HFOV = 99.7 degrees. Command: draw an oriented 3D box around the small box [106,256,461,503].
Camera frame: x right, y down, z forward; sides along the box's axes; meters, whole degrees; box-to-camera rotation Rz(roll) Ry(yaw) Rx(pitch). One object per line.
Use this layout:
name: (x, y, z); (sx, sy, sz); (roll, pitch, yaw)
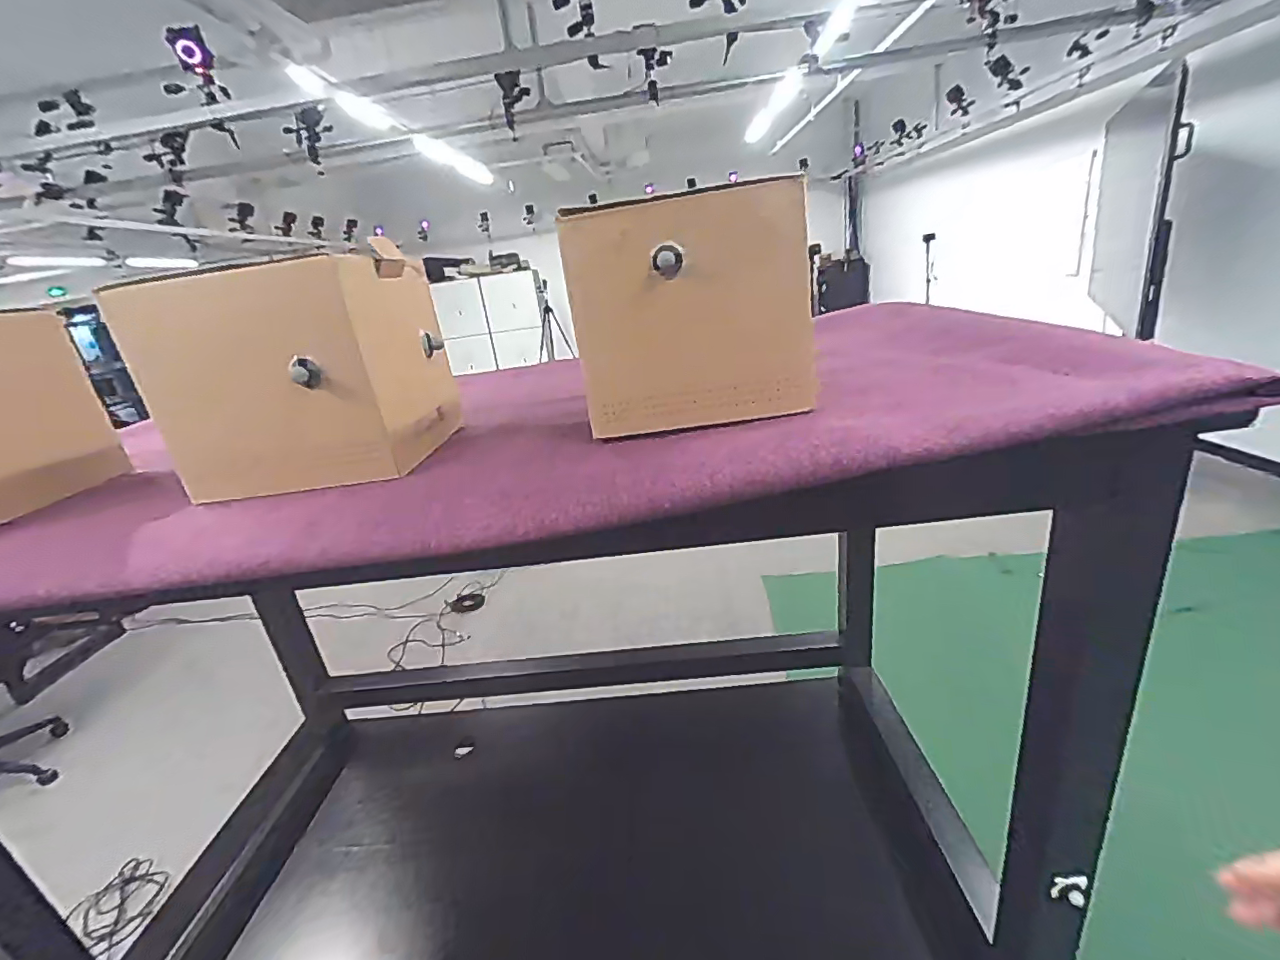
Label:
small box: (-0.278, -0.093, 0.475); (0.179, 0.176, 0.168); (-8, 20, 3)

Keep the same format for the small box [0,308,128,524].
small box: (-0.617, -0.046, 0.467); (0.168, 0.176, 0.179); (-6, 21, 1)

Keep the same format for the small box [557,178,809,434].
small box: (0.042, -0.143, 0.478); (0.179, 0.176, 0.168); (-6, 18, 6)
